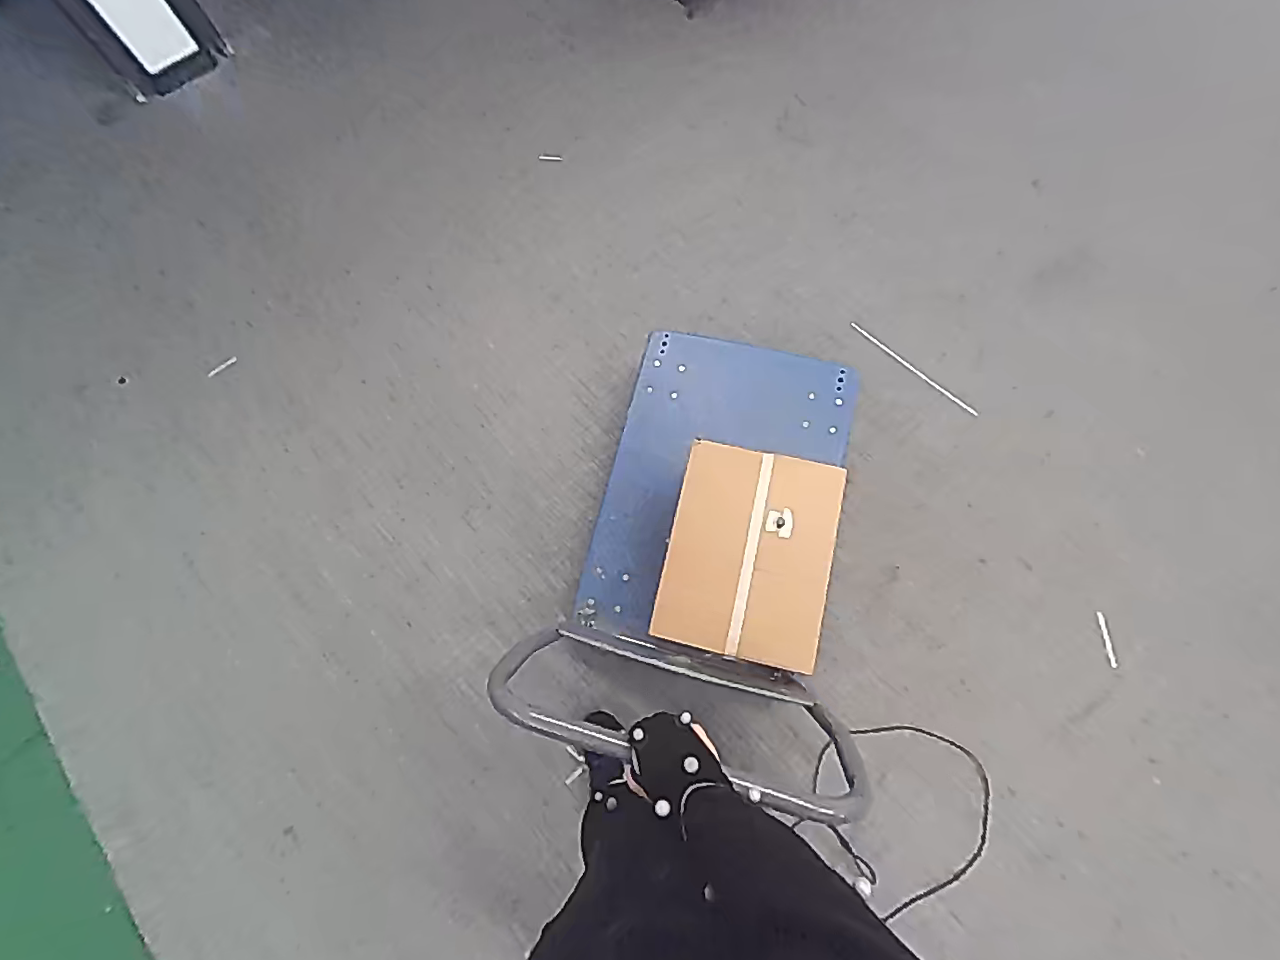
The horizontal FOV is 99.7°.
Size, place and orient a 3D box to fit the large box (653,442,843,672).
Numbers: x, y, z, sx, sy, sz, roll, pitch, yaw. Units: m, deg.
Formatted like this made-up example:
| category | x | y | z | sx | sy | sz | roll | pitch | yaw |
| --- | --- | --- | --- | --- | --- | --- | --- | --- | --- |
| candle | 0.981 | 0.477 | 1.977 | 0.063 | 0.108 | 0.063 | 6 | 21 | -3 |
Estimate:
| category | x | y | z | sx | sy | sz | roll | pitch | yaw |
| --- | --- | --- | --- | --- | --- | --- | --- | --- | --- |
| large box | 0.230 | 0.176 | 1.205 | 0.320 | 0.320 | 0.408 | 13 | 77 | 7 |
